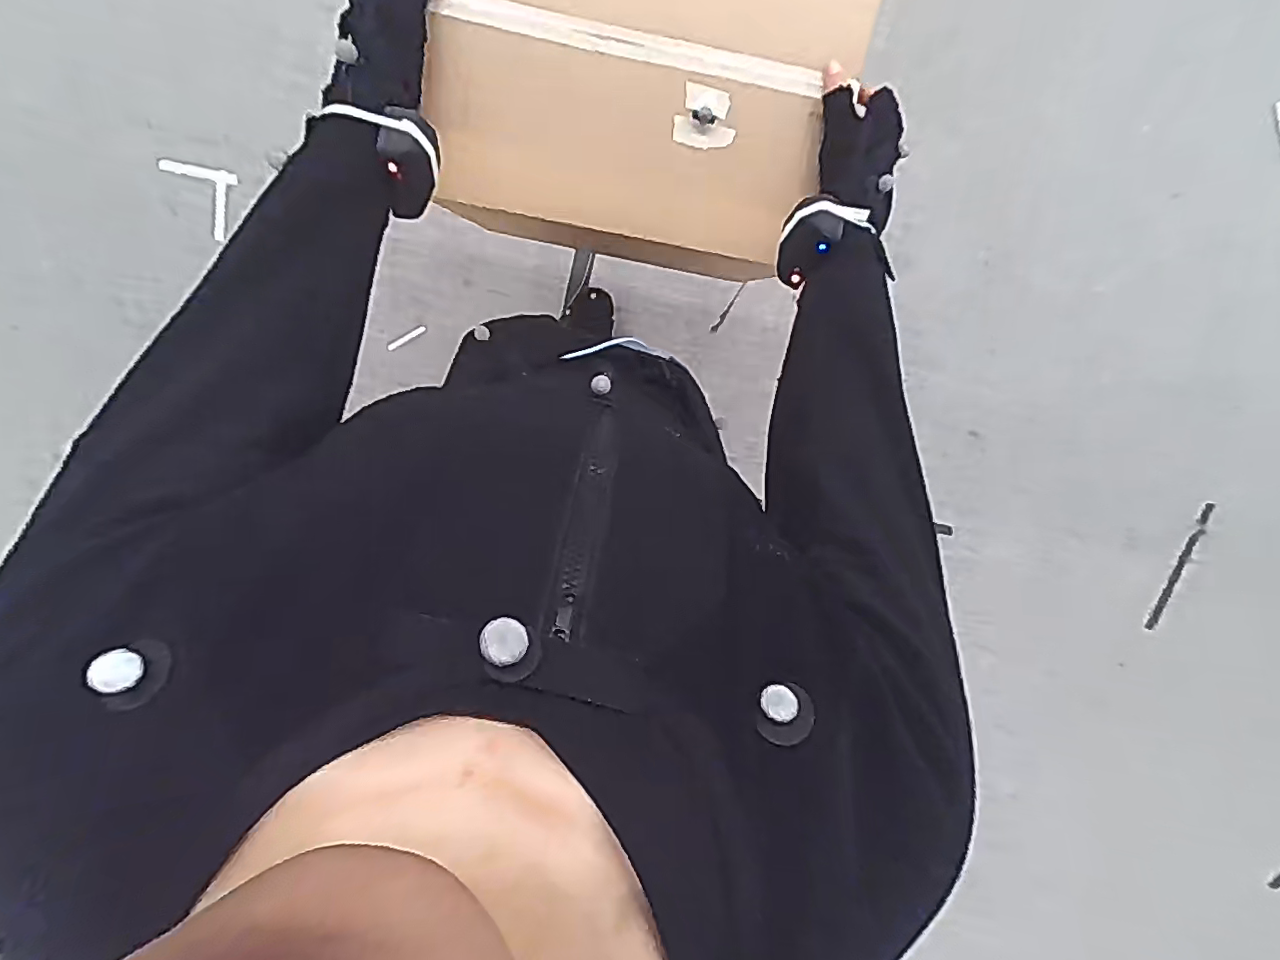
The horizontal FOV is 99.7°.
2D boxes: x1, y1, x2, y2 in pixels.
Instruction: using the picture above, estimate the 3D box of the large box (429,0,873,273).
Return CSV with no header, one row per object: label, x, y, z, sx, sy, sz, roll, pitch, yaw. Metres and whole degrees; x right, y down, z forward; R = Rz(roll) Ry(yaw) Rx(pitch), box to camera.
large box,0.001,-0.449,0.648,0.408,0.320,0.320,9,108,-6
